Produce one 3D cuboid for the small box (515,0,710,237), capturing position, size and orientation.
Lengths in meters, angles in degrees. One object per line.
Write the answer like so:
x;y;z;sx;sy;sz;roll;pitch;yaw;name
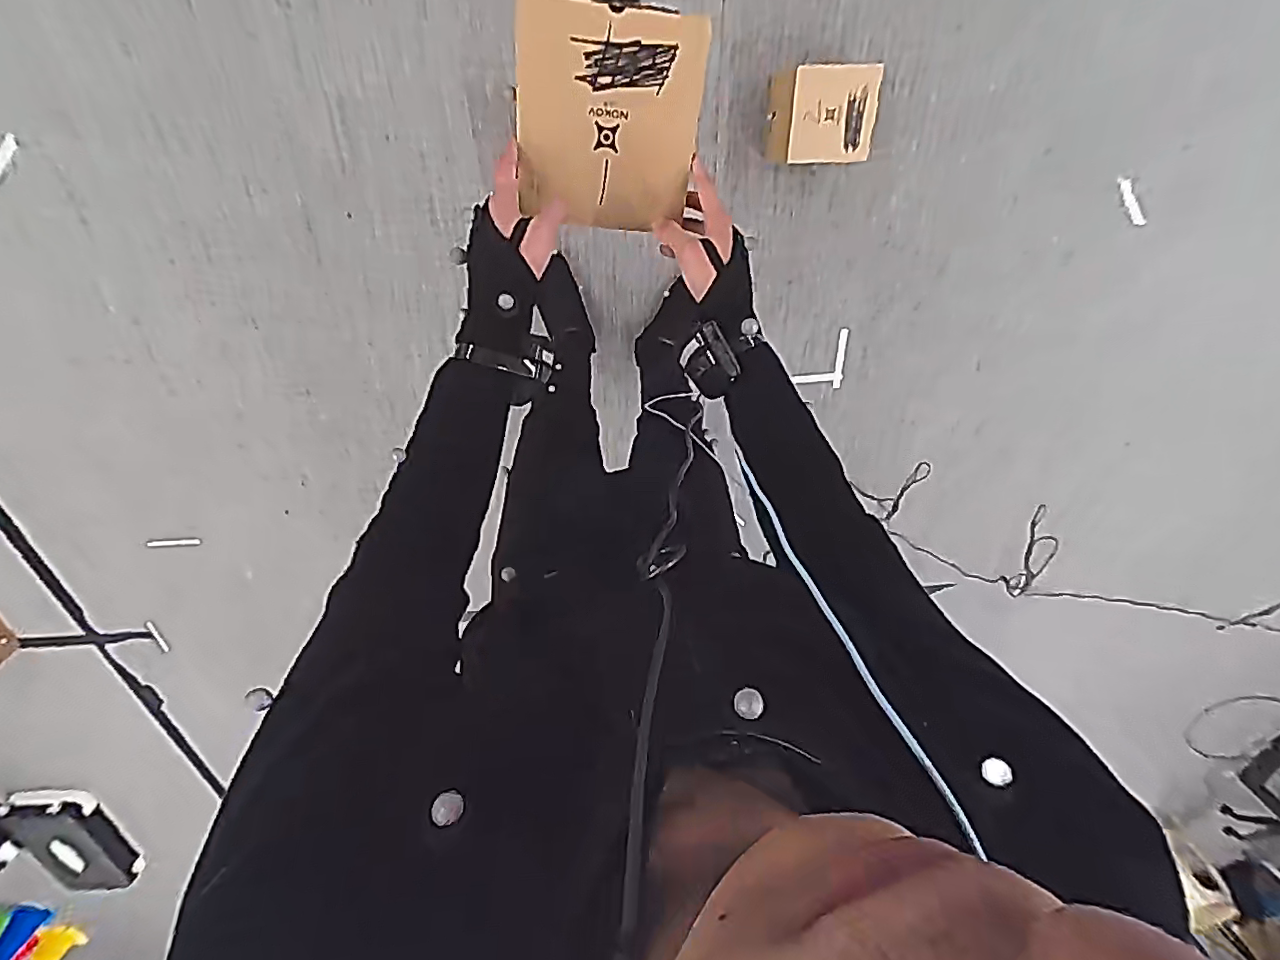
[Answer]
-0.041;-0.368;0.549;0.168;0.176;0.179;1;129;-10;small box
